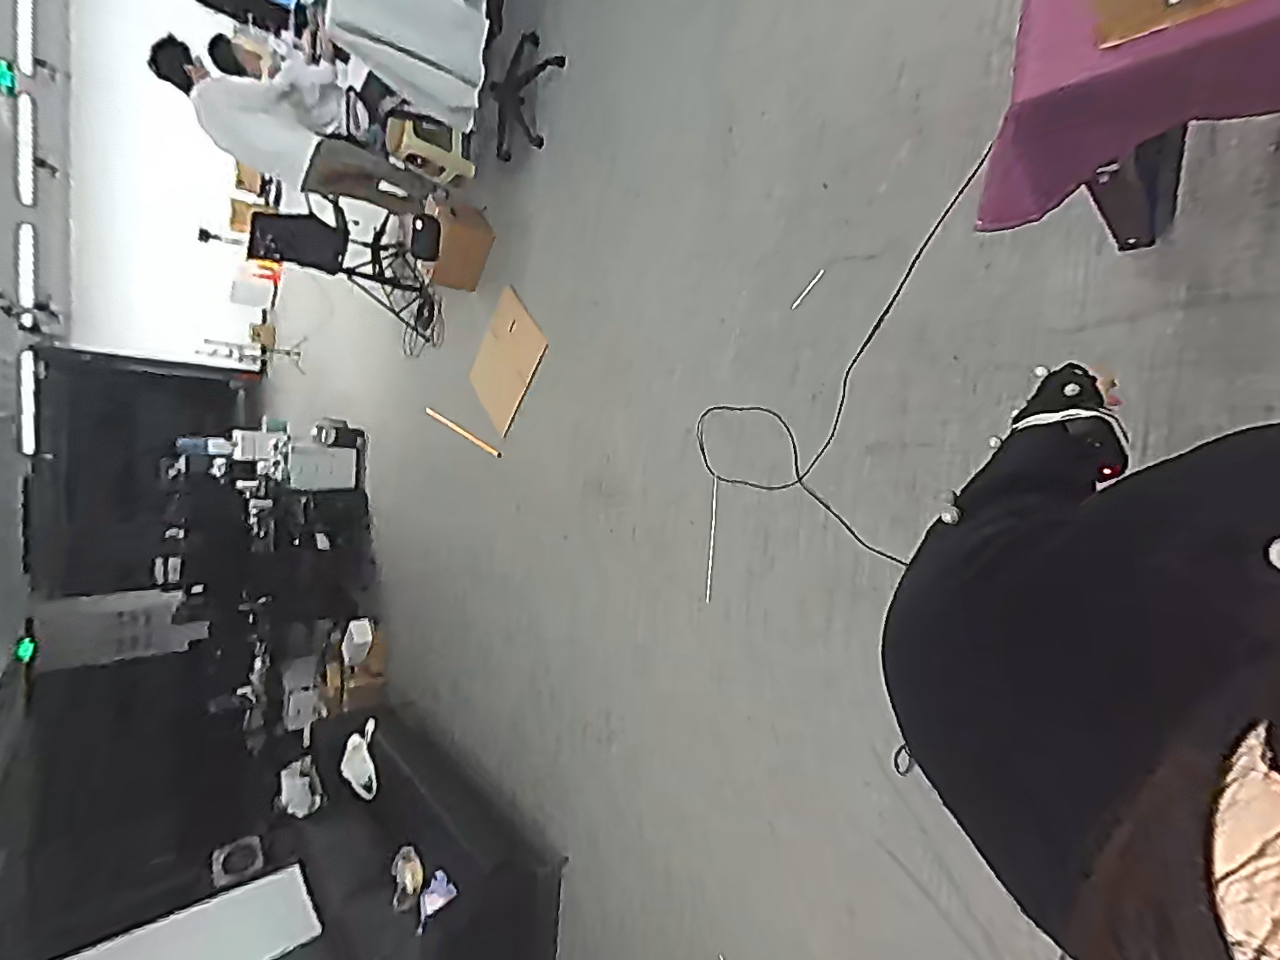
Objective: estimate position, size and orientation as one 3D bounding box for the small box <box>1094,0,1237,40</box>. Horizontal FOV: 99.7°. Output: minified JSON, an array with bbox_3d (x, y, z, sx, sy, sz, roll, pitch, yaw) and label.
[{"bbox_3d":[0.546,-0.586,0.516,0.168,0.176,0.179,12,98,47],"label":"small box"}]
